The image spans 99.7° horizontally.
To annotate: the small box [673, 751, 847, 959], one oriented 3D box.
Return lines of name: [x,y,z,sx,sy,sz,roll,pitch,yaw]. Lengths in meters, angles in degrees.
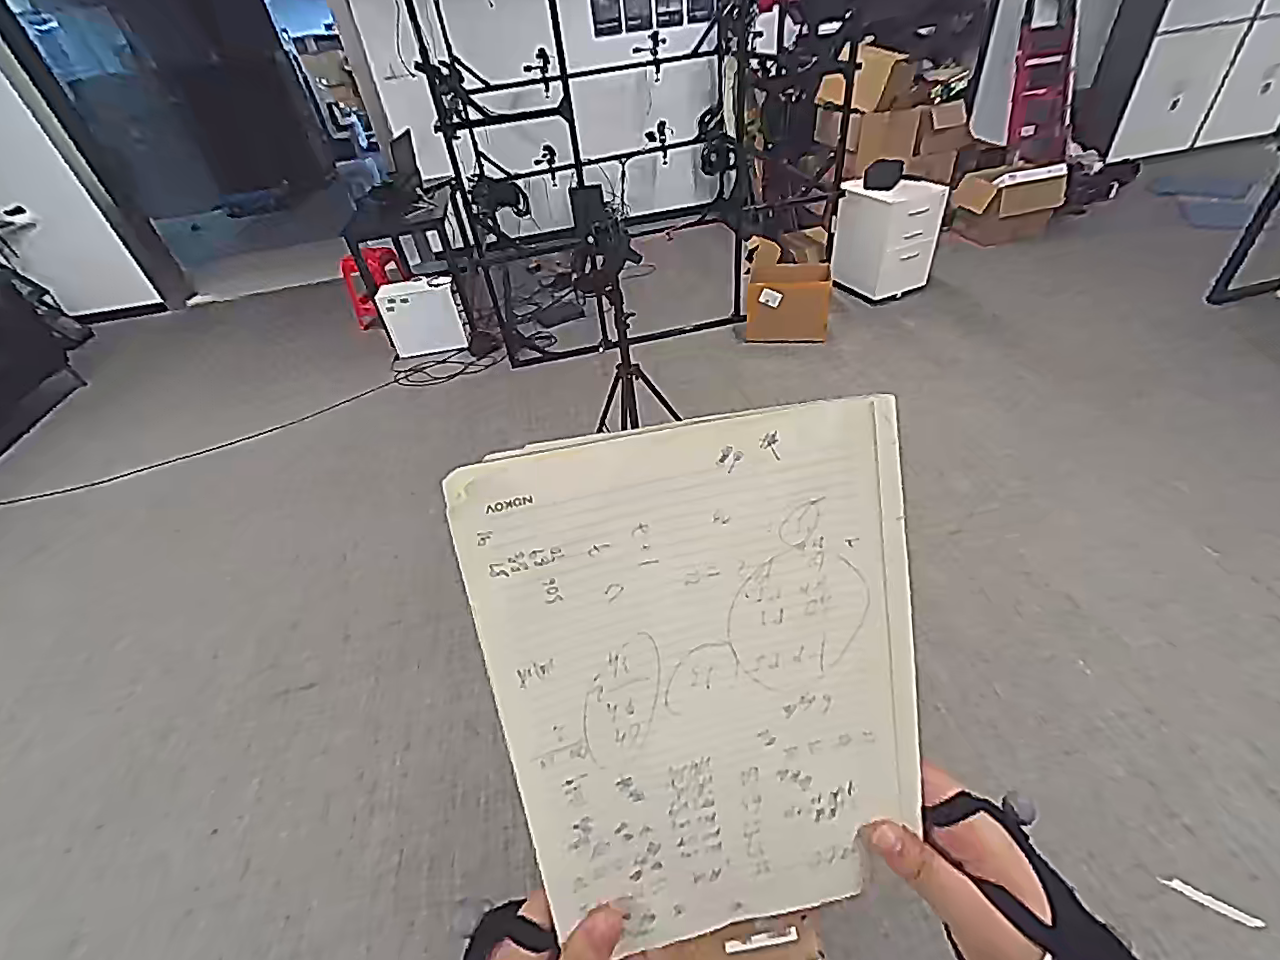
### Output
small box: [0.132,0.470,0.676,0.168,0.176,0.179,-6,42,-2]
